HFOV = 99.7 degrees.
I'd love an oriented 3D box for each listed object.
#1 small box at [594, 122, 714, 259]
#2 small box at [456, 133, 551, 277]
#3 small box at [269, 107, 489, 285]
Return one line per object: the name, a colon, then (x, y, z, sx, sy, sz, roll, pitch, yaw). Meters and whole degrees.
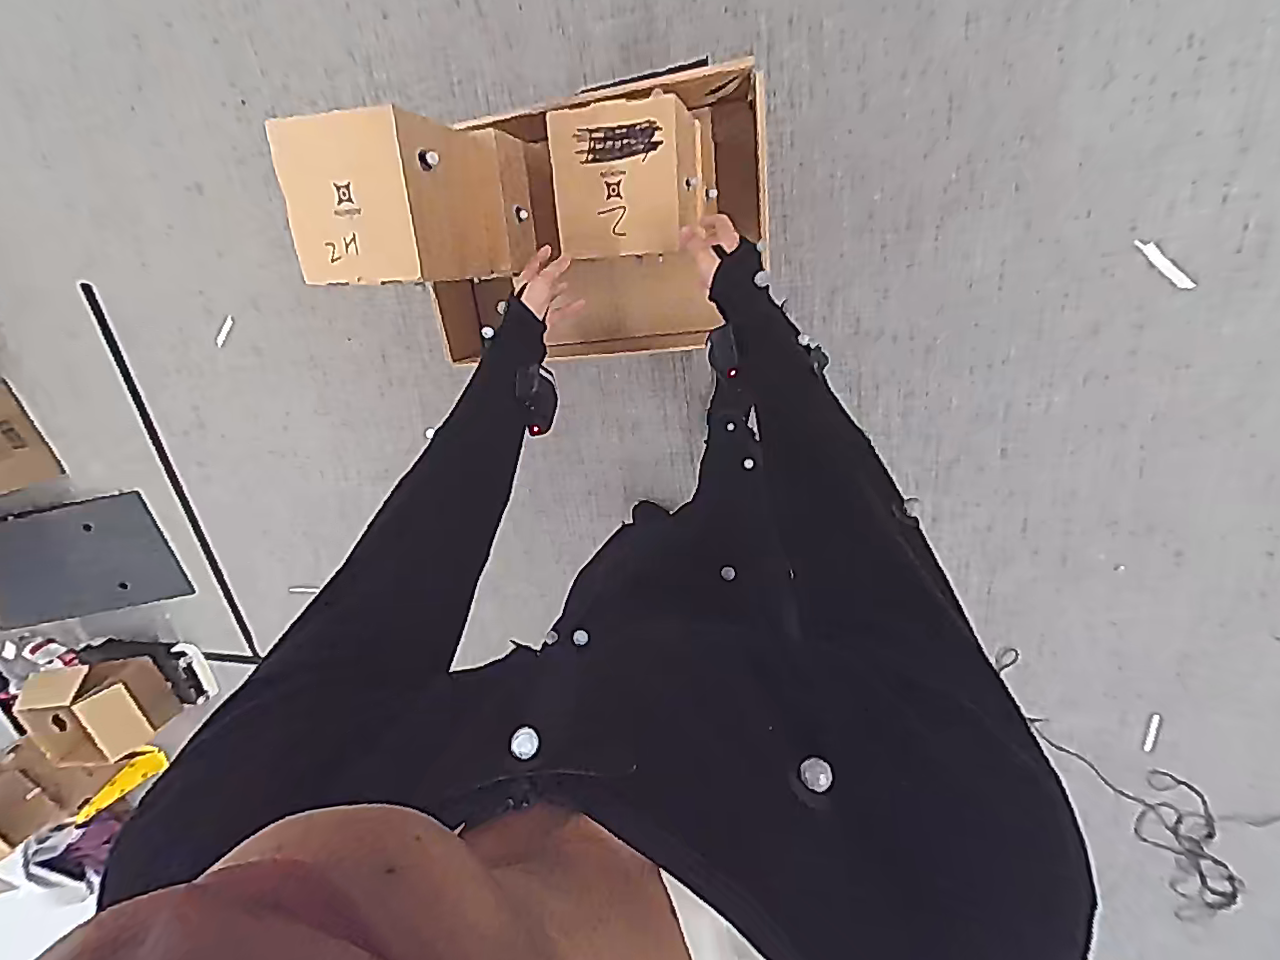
small box: (0.032, -0.472, 0.909, 0.168, 0.176, 0.179, 0, 113, 15)
small box: (-0.245, -0.405, 0.823, 0.168, 0.176, 0.179, 2, 112, 13)
small box: (-0.310, -0.343, 0.682, 0.168, 0.176, 0.179, 3, 113, 13)
